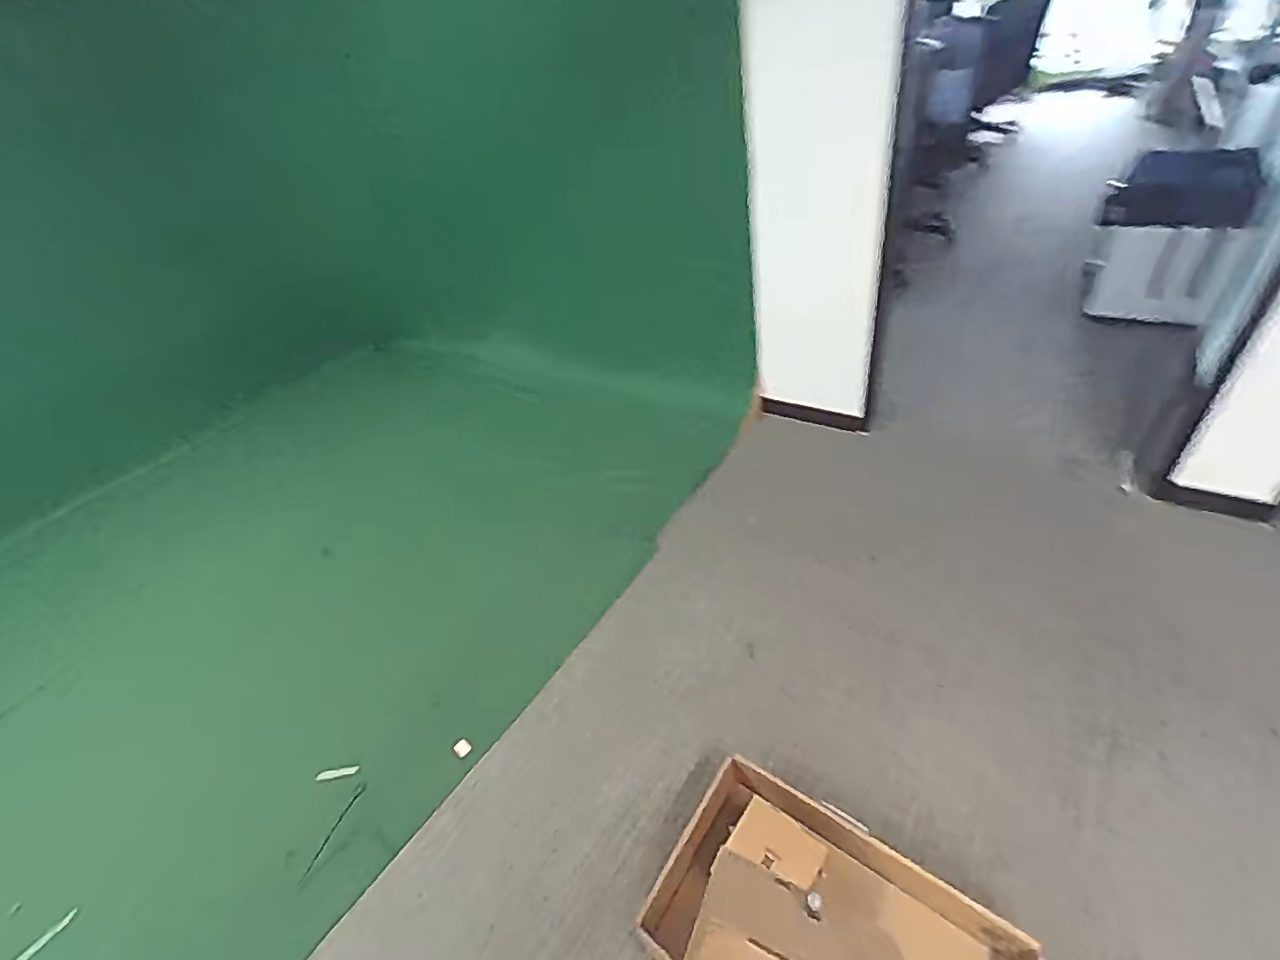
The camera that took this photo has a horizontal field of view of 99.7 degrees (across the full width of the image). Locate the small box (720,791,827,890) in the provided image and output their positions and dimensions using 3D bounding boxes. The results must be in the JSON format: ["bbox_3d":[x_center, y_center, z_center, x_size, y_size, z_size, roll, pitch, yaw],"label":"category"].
[{"bbox_3d":[0.271,0.801,1.122,0.168,0.176,0.179,24,53,35],"label":"small box"}]

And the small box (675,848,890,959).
[{"bbox_3d":[0.103,0.437,0.419,0.168,0.176,0.179,19,76,16],"label":"small box"}]
